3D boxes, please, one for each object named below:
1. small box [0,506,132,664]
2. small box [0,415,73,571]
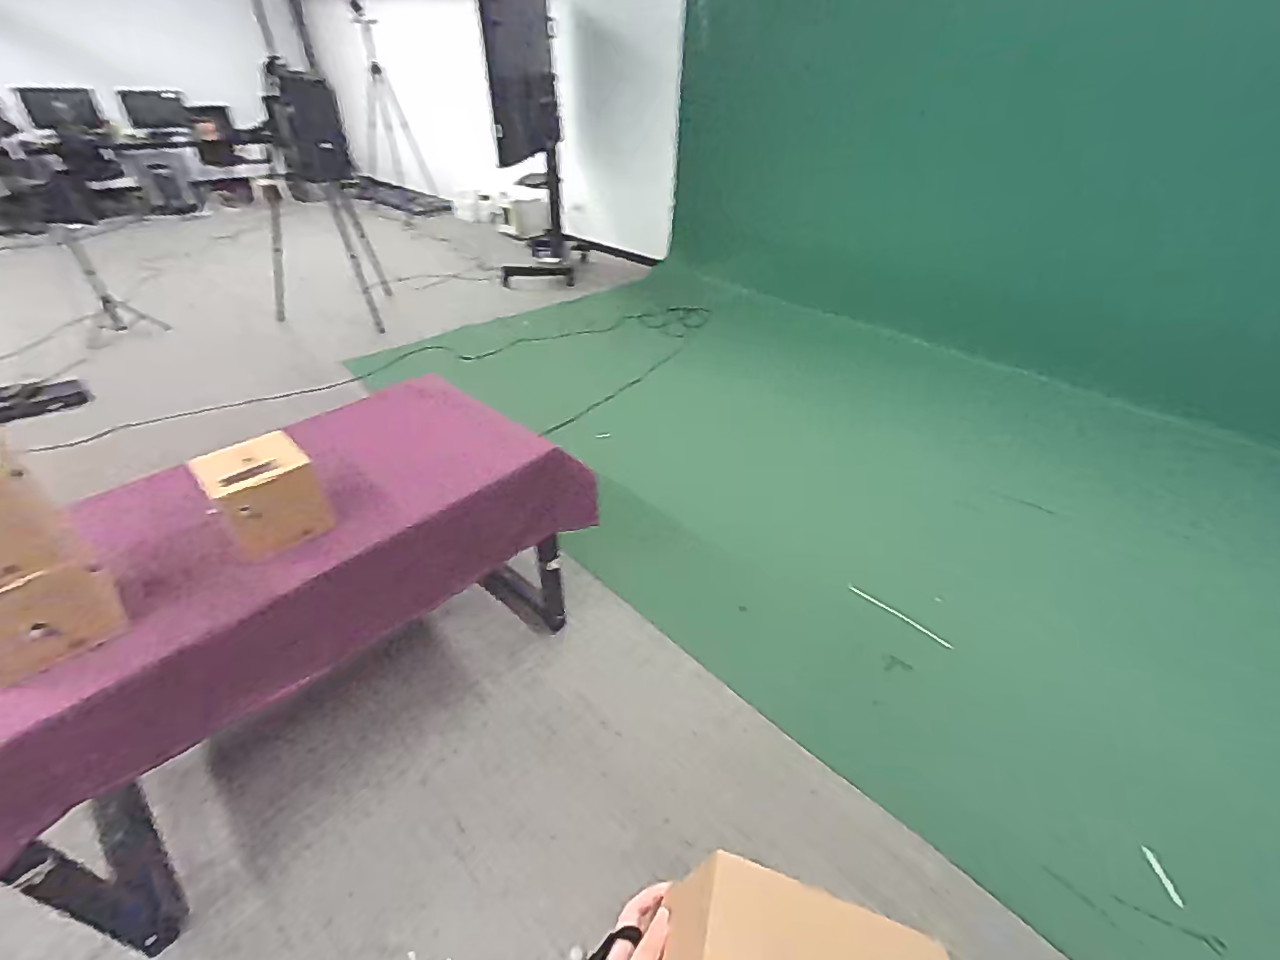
[{"bbox_3d":[-0.981,0.169,0.880,0.179,0.176,0.168,33,46,33],"label":"small box"},{"bbox_3d":[-0.980,0.034,0.785,0.168,0.176,0.179,-30,47,-35],"label":"small box"}]
